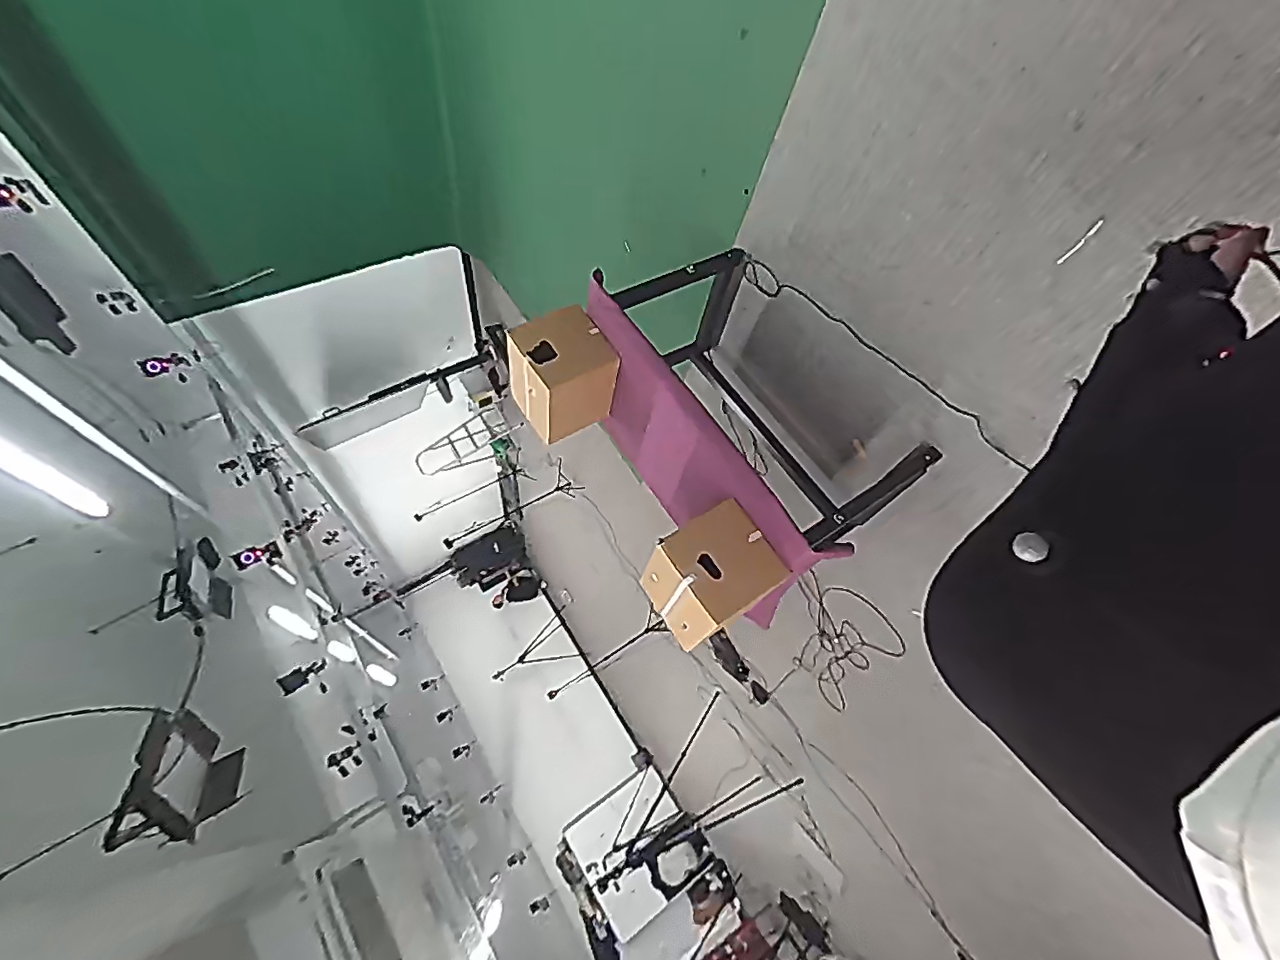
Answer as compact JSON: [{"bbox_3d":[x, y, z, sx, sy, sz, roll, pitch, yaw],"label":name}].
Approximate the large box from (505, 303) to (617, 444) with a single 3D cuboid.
[{"bbox_3d":[-0.319,-0.418,2.154,0.320,0.320,0.408,53,155,16],"label":"large box"}]
